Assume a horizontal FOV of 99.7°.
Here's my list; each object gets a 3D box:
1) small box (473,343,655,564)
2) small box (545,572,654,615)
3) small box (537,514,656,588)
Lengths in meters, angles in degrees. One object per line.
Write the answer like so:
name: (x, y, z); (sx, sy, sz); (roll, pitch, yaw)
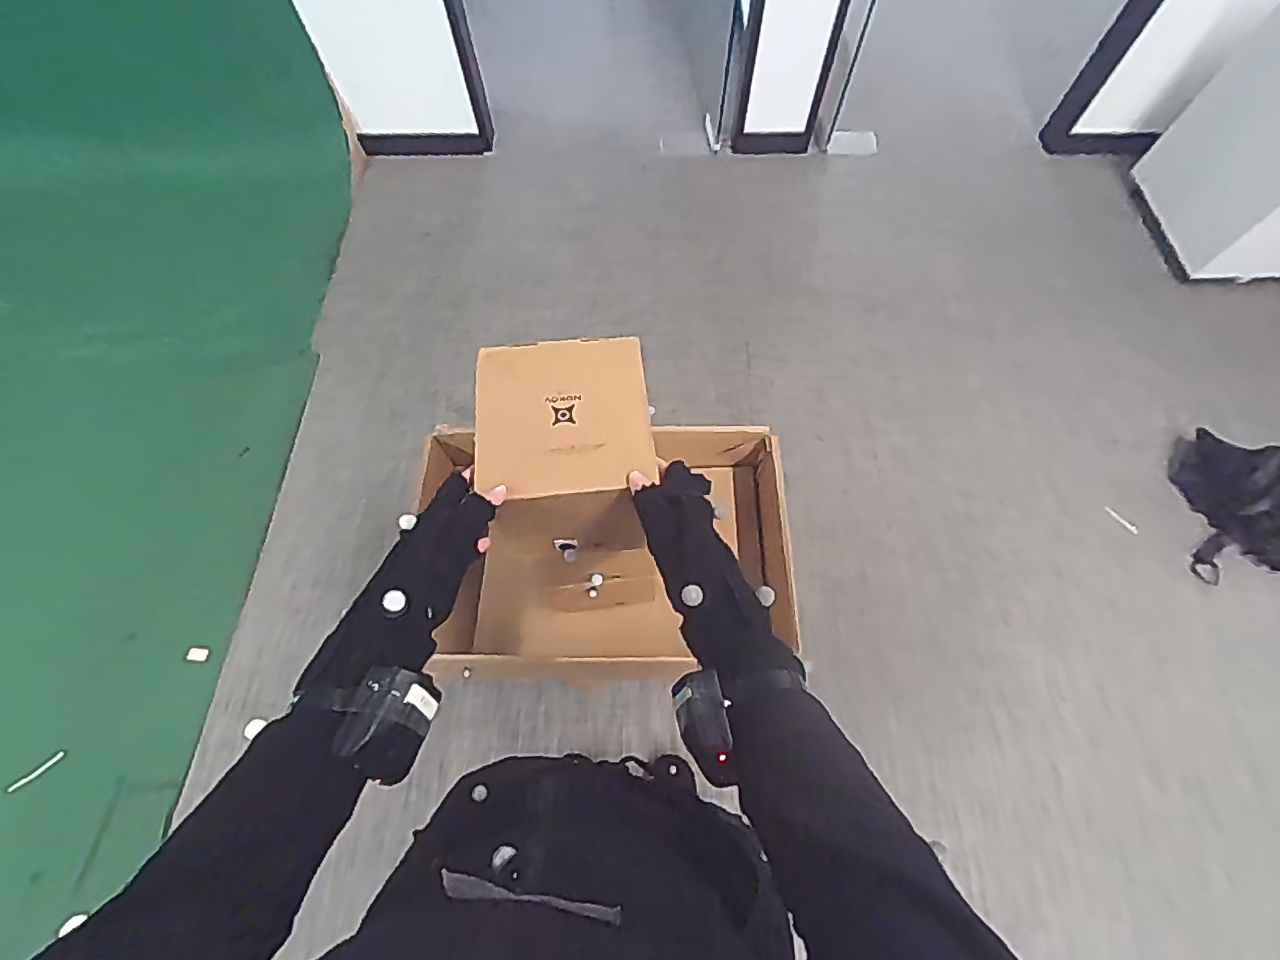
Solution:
small box: (-0.079, -0.023, 0.589); (0.168, 0.176, 0.179); (-6, 65, -4)
small box: (-0.068, 0.117, 0.920); (0.168, 0.176, 0.179); (-6, 64, -1)
small box: (-0.068, 0.044, 0.774); (0.168, 0.176, 0.179); (-5, 65, -1)
